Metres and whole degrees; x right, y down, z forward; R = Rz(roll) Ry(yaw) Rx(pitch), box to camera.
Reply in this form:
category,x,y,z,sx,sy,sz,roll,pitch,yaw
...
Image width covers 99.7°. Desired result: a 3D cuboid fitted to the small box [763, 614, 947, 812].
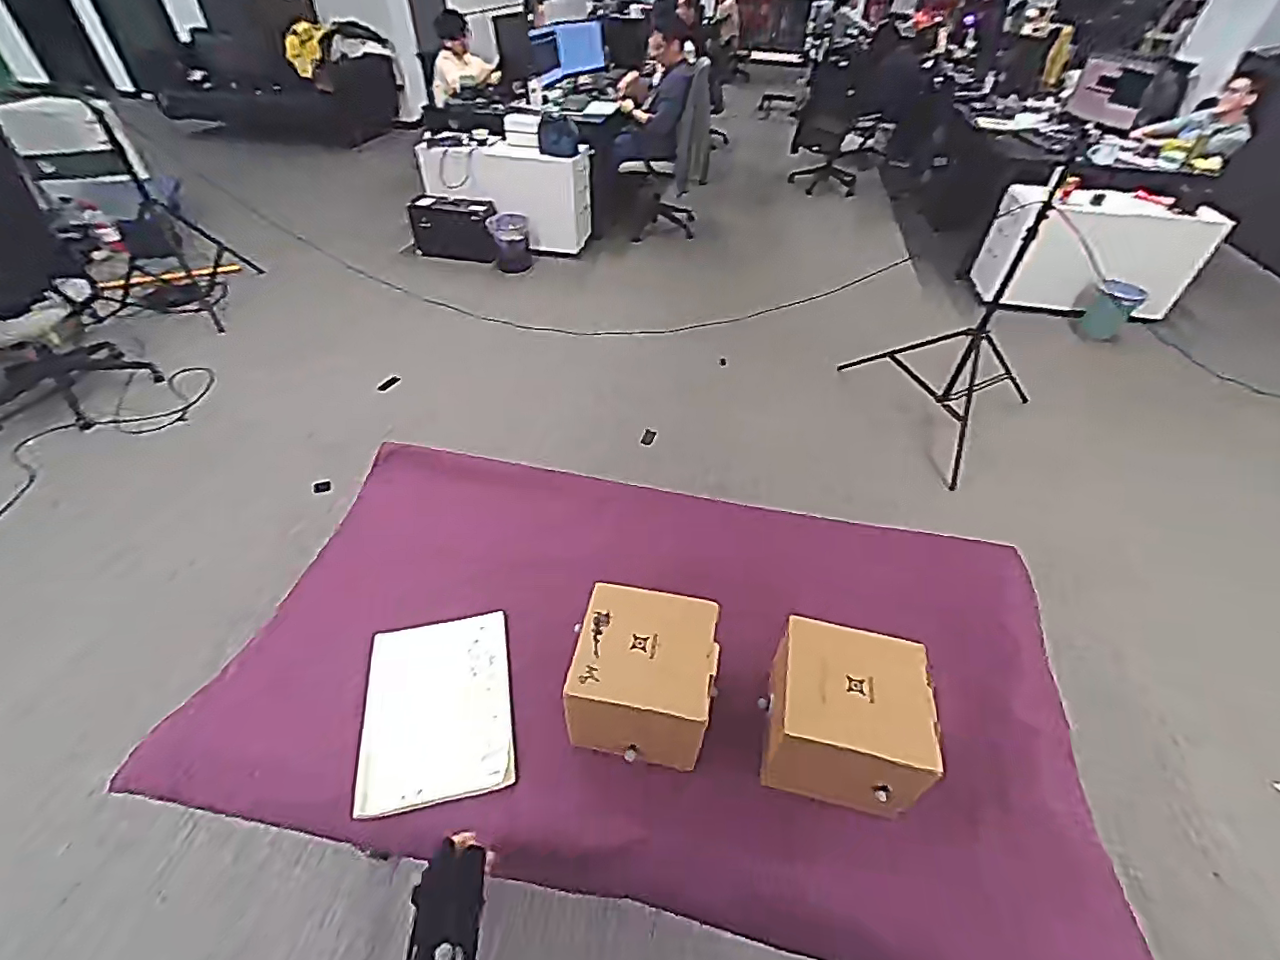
category,x,y,z,sx,sy,sz,roll,pitch,yaw
small box,0.268,0.308,0.710,0.179,0.176,0.168,10,42,10

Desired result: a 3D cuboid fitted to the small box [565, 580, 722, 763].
category,x,y,z,sx,sy,sz,roll,pitch,yaw
small box,0.008,0.266,0.742,0.179,0.176,0.168,9,44,6
